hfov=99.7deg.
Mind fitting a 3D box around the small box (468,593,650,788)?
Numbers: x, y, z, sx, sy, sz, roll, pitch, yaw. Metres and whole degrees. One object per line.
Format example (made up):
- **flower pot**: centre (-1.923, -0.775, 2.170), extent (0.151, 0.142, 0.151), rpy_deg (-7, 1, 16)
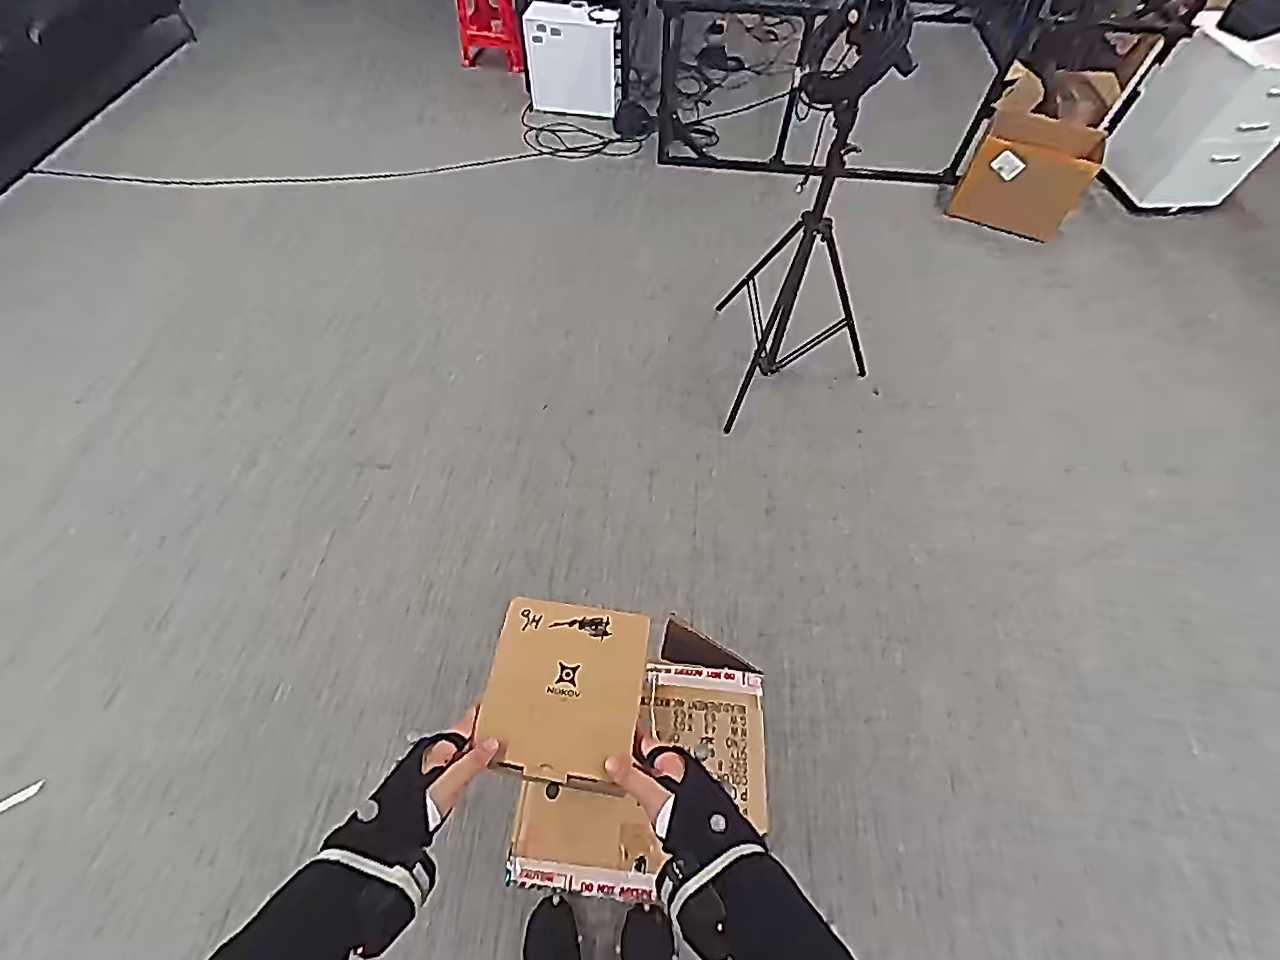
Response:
- **small box**: centre (-0.081, 0.257, 0.645), extent (0.168, 0.176, 0.179), rpy_deg (8, 58, 3)
